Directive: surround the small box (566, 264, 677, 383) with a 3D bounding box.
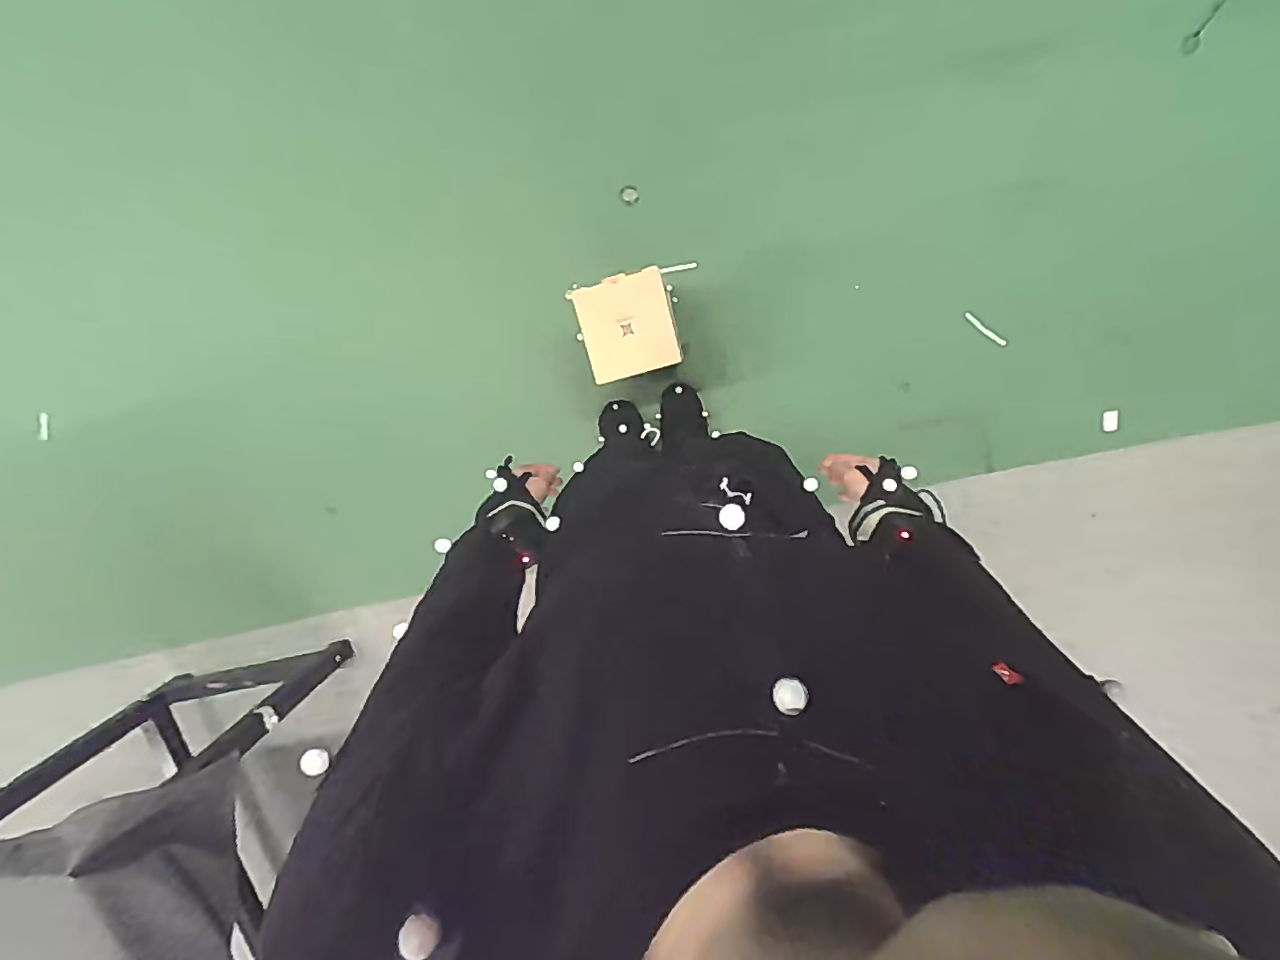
[{"bbox_3d":[-0.026,-0.298,1.051,0.168,0.176,0.179,-14,101,7],"label":"small box"}]
